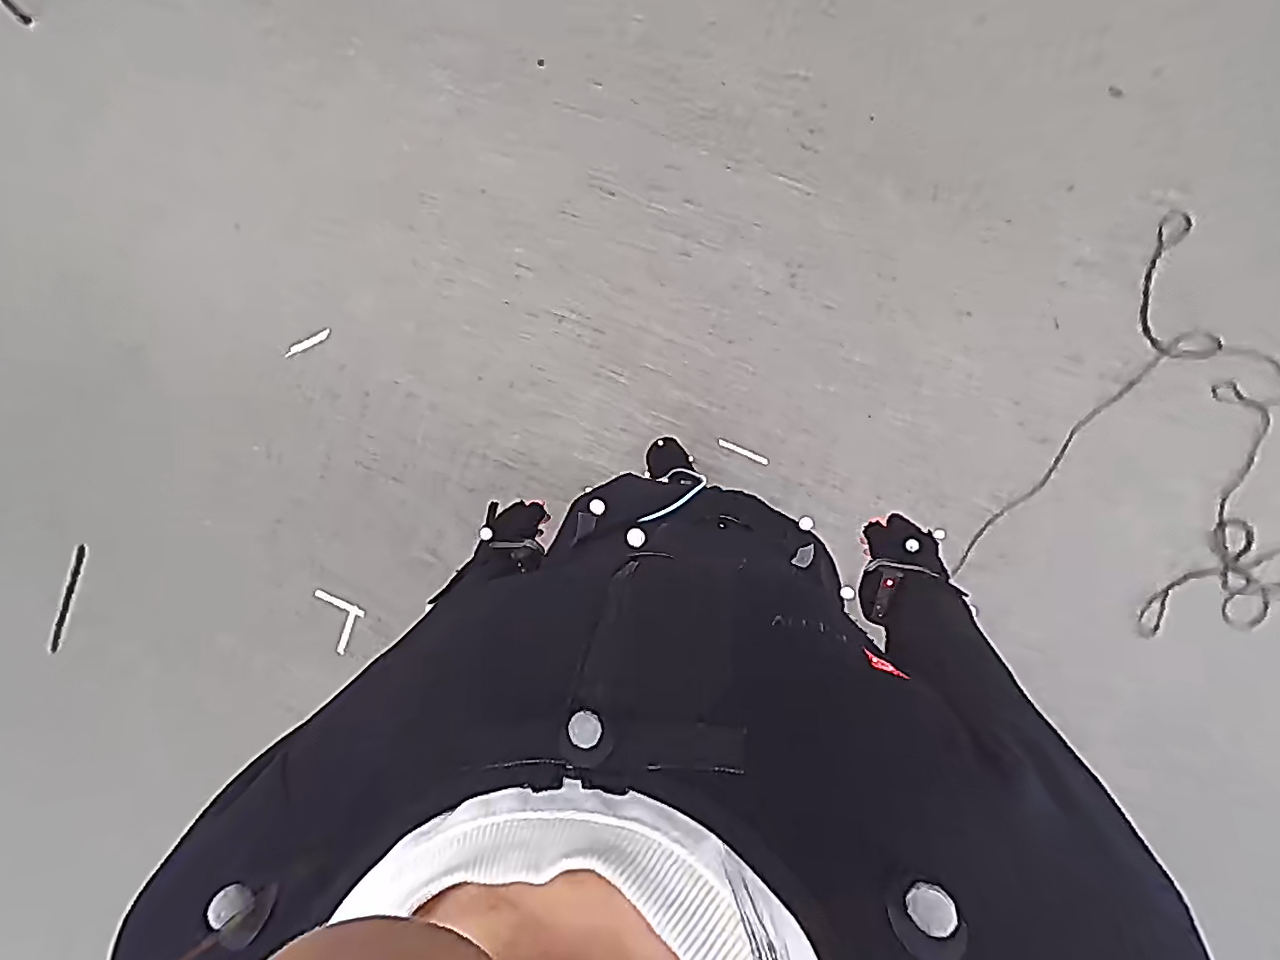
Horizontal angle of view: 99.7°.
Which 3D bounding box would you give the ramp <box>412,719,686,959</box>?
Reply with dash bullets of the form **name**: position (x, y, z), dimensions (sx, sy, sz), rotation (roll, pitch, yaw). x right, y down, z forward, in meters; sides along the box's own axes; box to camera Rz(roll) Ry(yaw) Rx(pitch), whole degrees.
- **ramp**: position (-0.307, 1.218, 1.473), dimensions (0.509, 0.206, 0.991), rotation (25, 96, 9)
